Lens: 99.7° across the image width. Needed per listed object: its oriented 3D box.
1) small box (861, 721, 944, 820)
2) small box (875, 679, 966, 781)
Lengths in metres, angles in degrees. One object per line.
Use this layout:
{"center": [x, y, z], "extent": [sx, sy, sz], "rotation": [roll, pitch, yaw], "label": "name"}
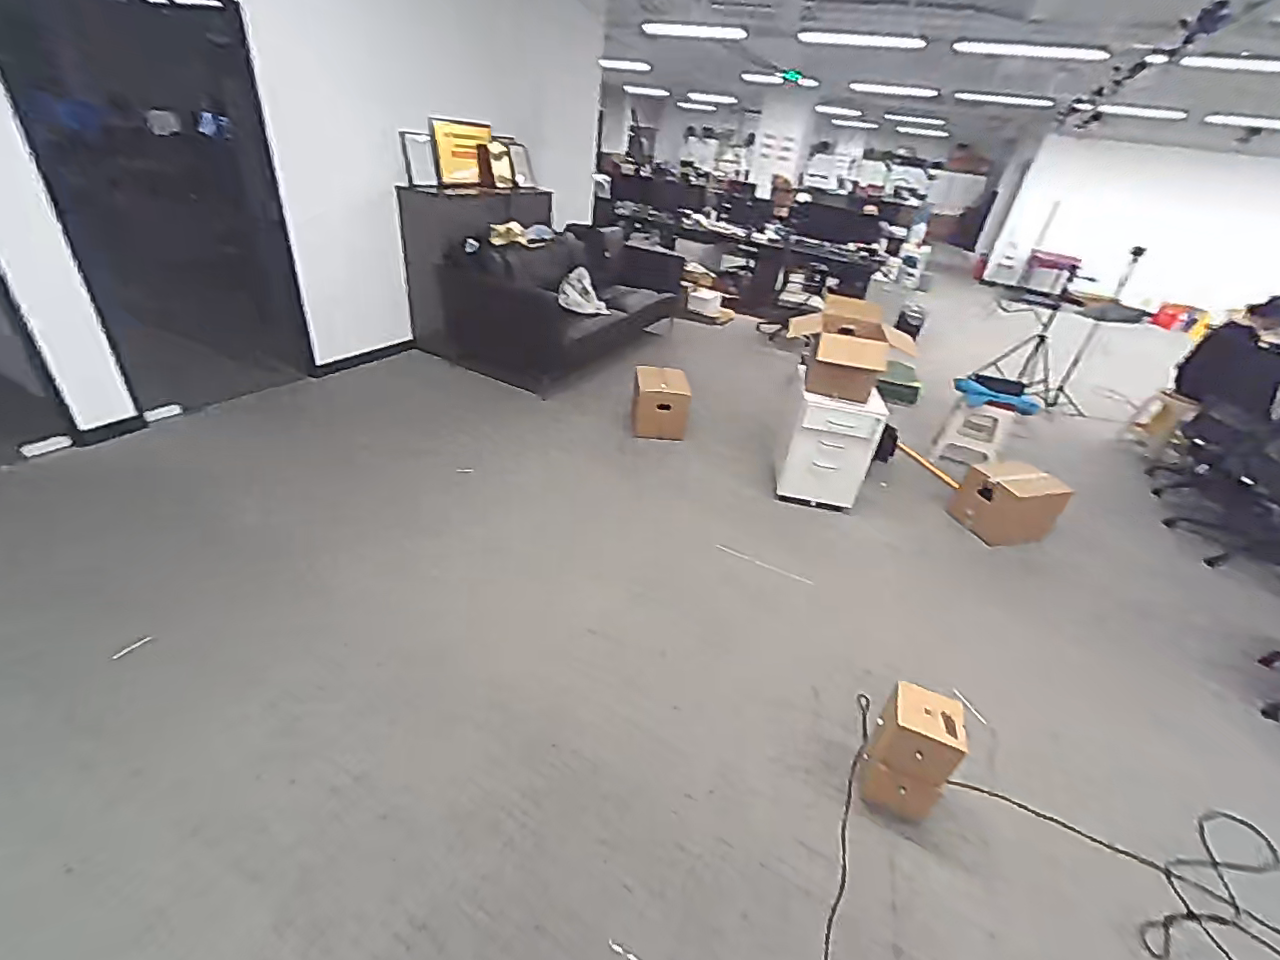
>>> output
{"center": [0.753, 0.846, 1.572], "extent": [0.179, 0.176, 0.168], "rotation": [16, 33, 14], "label": "small box"}
{"center": [0.775, 0.698, 1.503], "extent": [0.179, 0.176, 0.168], "rotation": [17, 32, 17], "label": "small box"}
